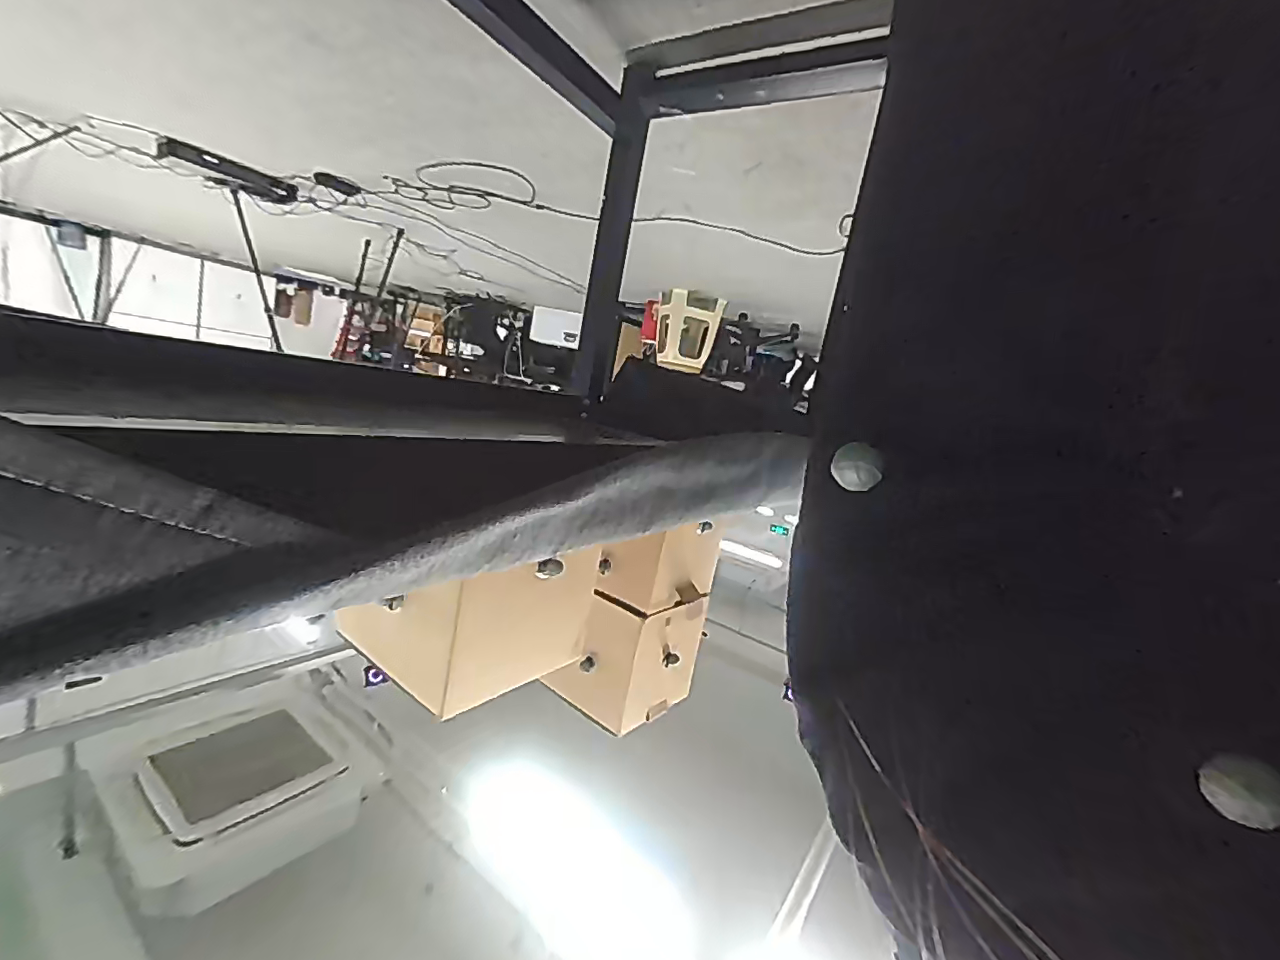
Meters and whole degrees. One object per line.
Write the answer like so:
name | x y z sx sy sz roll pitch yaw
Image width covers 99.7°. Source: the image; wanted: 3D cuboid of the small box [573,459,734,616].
small box | 0.007 0.066 0.759 0.179 0.176 0.168 18 -170 35

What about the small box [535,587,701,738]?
small box | -0.026 0.225 0.778 0.179 0.176 0.168 17 -170 36

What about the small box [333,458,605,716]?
small box | -0.155 0.077 0.507 0.179 0.176 0.168 18 -169 33
